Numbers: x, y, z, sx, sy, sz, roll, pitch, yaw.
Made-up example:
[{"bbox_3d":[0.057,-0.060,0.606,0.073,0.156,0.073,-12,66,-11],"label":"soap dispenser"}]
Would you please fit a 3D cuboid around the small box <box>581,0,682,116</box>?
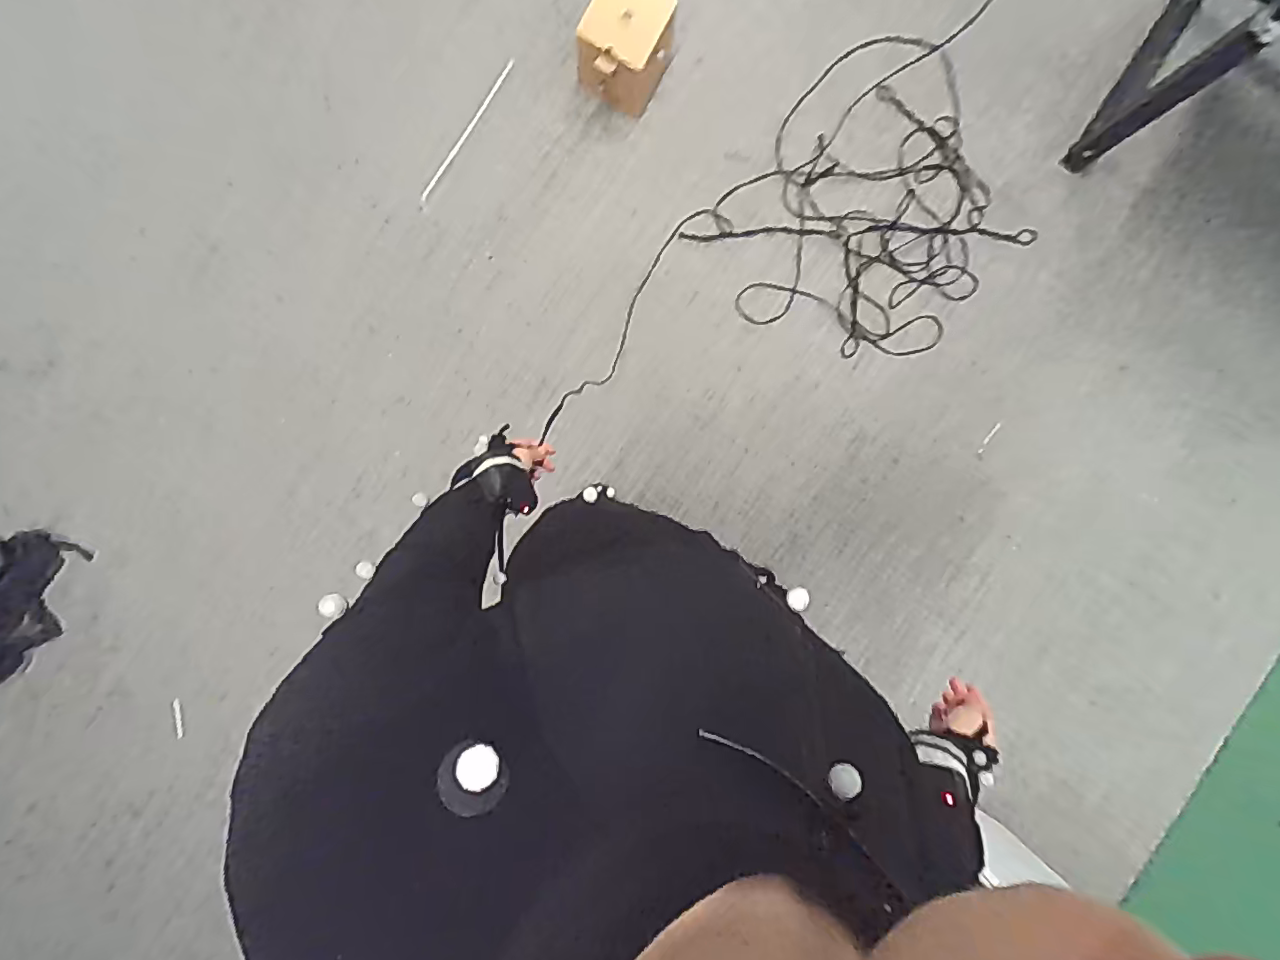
[{"bbox_3d":[-0.024,-1.007,1.252,0.168,0.176,0.179,28,90,-4],"label":"small box"}]
